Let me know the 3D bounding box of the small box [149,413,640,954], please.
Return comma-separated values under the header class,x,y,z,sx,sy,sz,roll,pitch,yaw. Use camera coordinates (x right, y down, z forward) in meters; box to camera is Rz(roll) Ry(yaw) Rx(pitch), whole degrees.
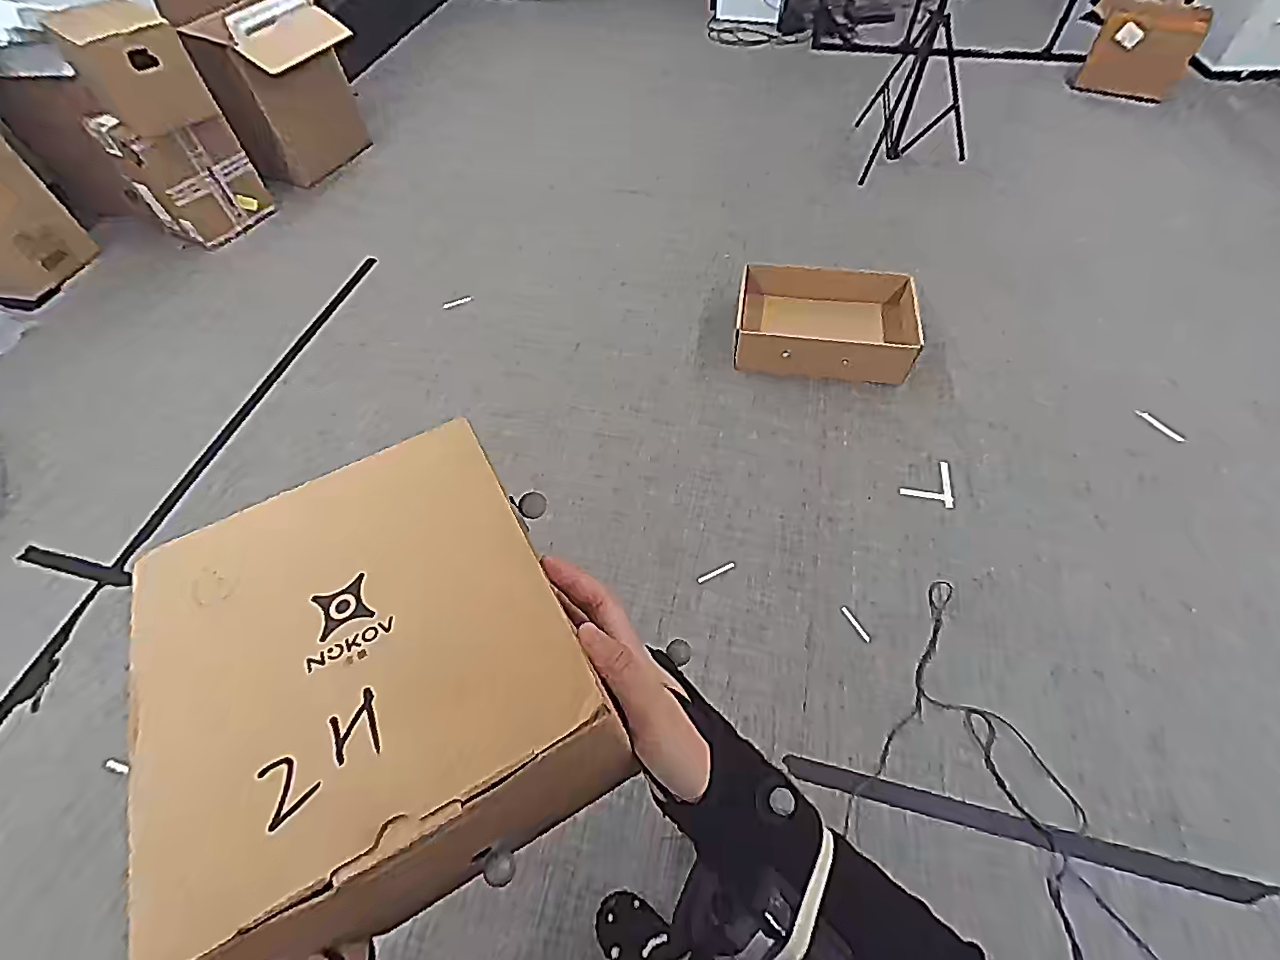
class,x,y,z,sx,sy,sz,roll,pitch,yaw
small box,-0.112,0.102,0.295,0.168,0.176,0.179,-26,58,-13
